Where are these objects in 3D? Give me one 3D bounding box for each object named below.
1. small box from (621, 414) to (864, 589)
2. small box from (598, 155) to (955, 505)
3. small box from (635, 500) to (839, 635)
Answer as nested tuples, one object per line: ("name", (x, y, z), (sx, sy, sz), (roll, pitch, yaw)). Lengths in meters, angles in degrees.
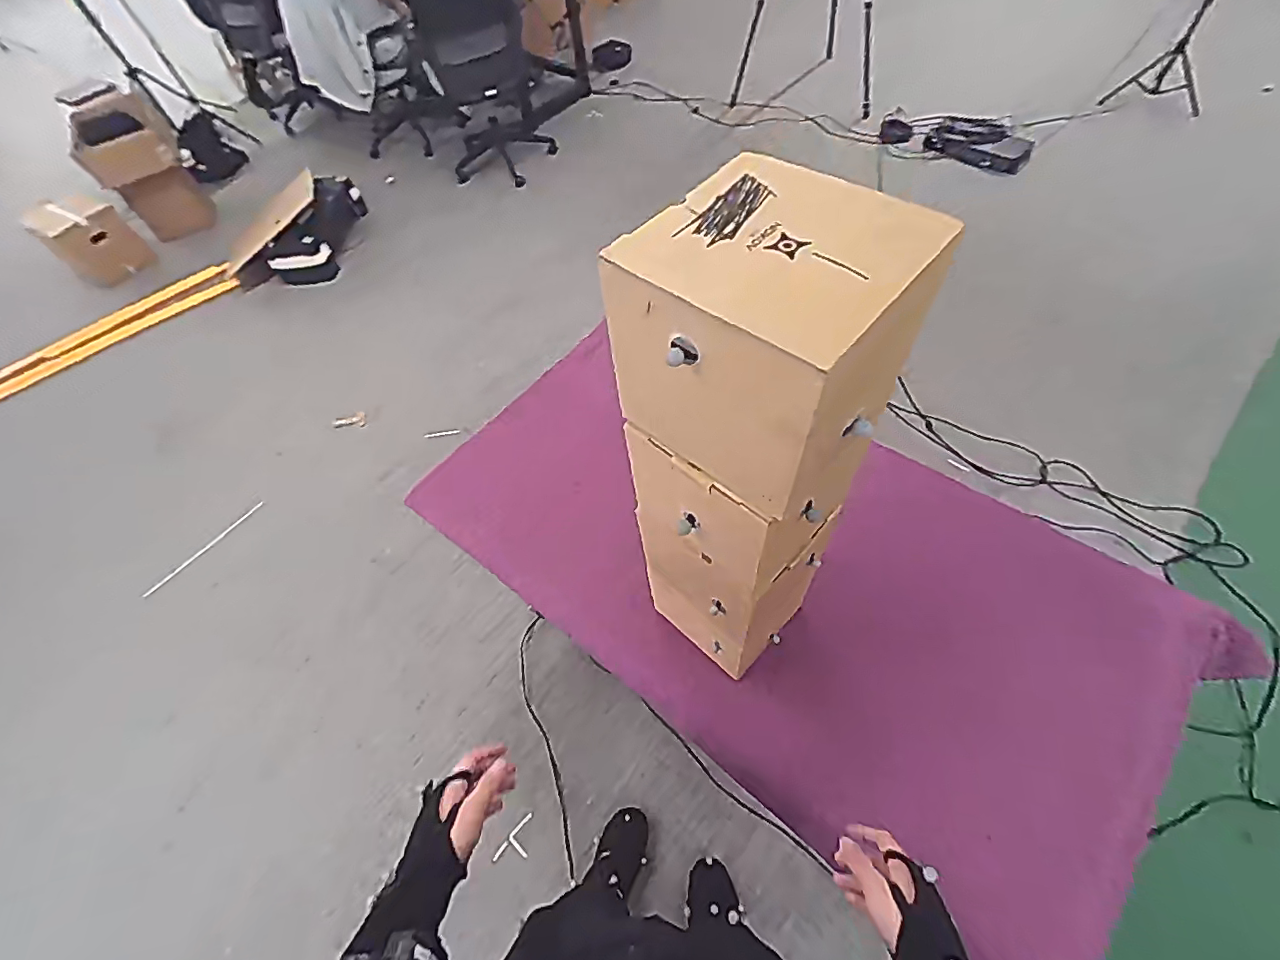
("small box", (0.107, -0.019, 0.556), (0.168, 0.176, 0.179), (38, 68, 26))
("small box", (0.093, -0.111, 0.421), (0.179, 0.176, 0.168), (36, 67, 25))
("small box", (0.118, 0.074, 0.689), (0.179, 0.176, 0.168), (37, 68, 27))
